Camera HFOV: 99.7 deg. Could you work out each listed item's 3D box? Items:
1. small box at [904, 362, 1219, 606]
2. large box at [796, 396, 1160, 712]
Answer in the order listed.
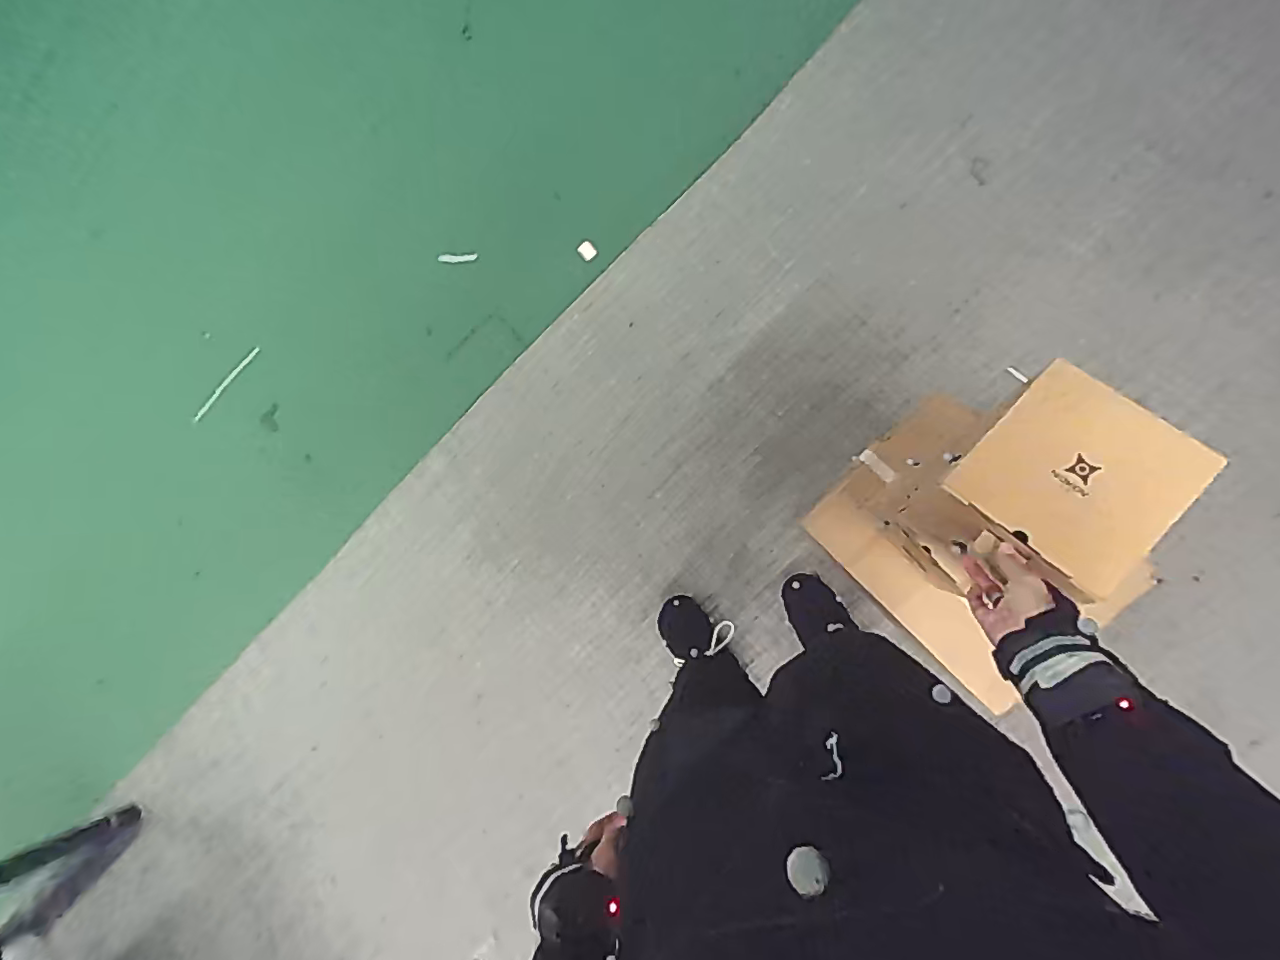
[{"bbox_3d":[0.418,0.015,0.577,0.168,0.176,0.179,42,87,18],"label":"small box"},{"bbox_3d":[0.541,0.116,0.978,0.320,0.320,0.408,-45,77,8],"label":"large box"}]
